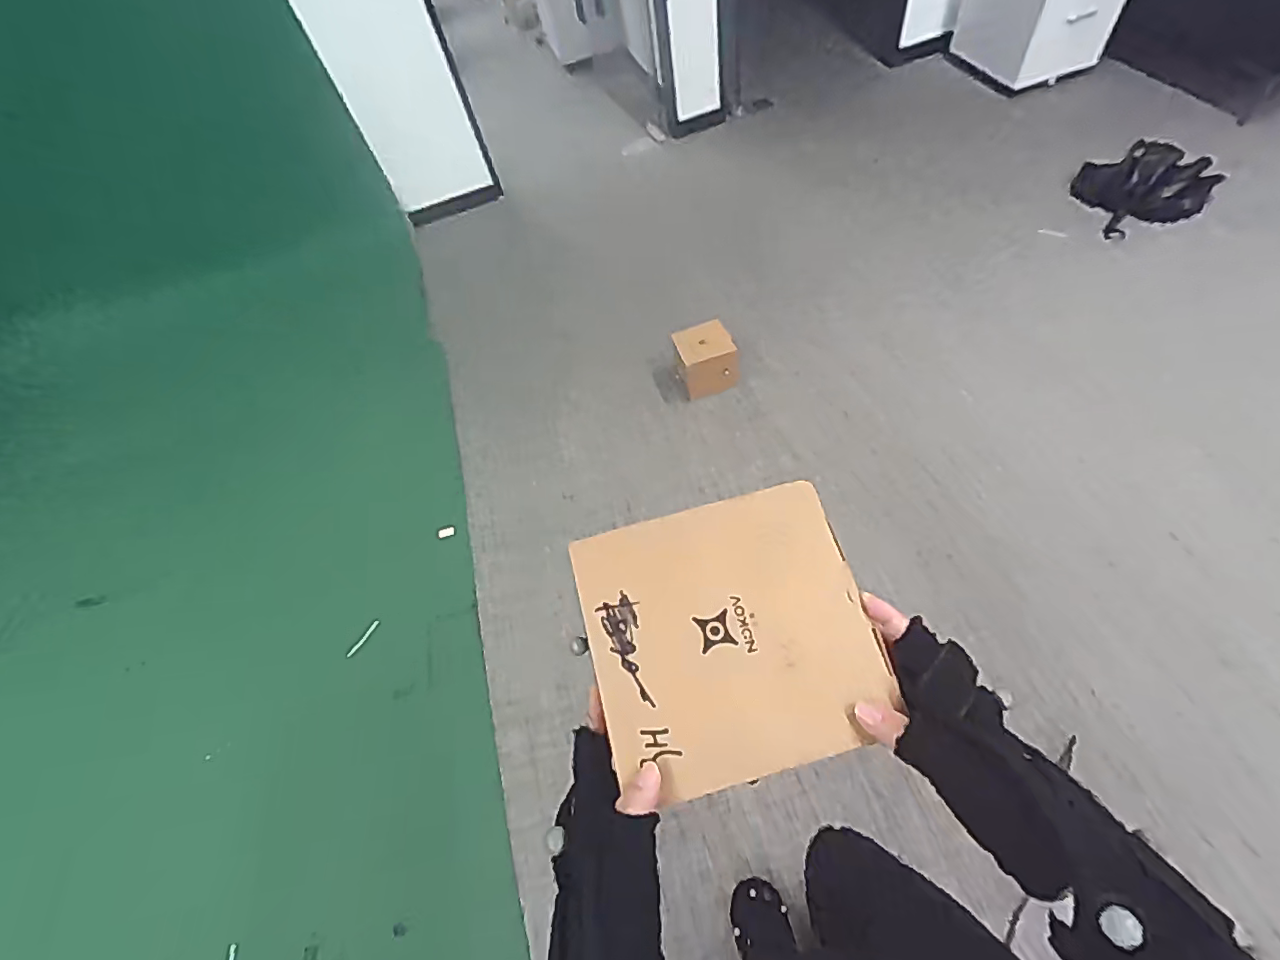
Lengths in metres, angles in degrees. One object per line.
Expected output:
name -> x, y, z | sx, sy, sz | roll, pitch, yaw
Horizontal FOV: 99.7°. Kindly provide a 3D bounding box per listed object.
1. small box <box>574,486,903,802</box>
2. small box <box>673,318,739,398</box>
small box -> 0.058, 0.126, 0.418 | 0.179, 0.176, 0.168 | -14, 66, -4
small box -> 0.224, -0.406, 1.812 | 0.179, 0.176, 0.168 | -20, 56, 0
